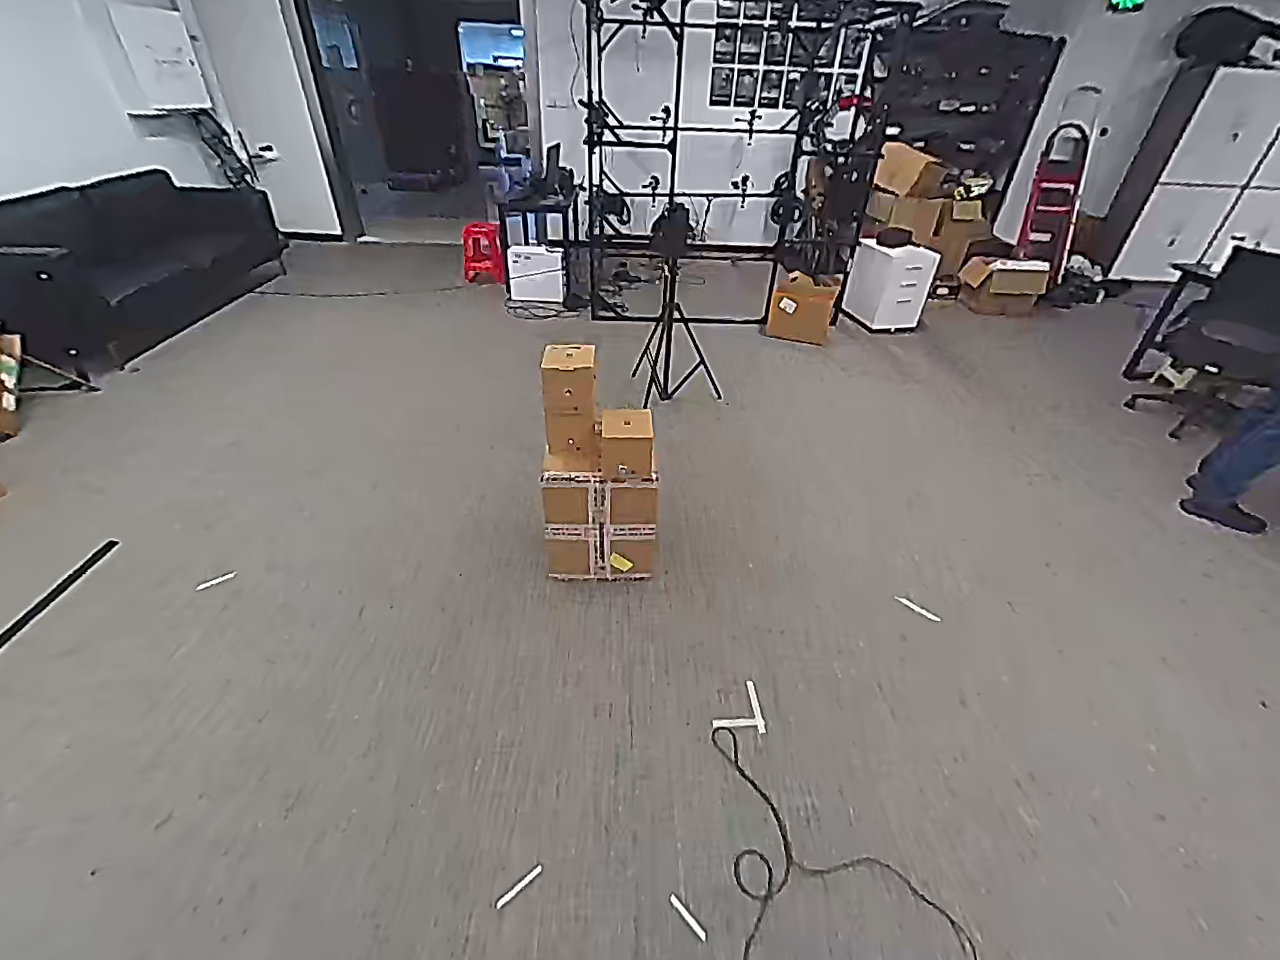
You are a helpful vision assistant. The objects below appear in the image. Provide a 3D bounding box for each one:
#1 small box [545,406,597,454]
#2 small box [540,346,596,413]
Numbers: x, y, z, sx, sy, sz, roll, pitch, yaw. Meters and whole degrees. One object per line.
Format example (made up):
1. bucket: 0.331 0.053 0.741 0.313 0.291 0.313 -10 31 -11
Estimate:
1. small box: -0.241 -0.209 1.918 0.168 0.176 0.179 -2 38 -2
2. small box: -0.234 -0.334 1.811 0.168 0.176 0.179 -1 39 -2
